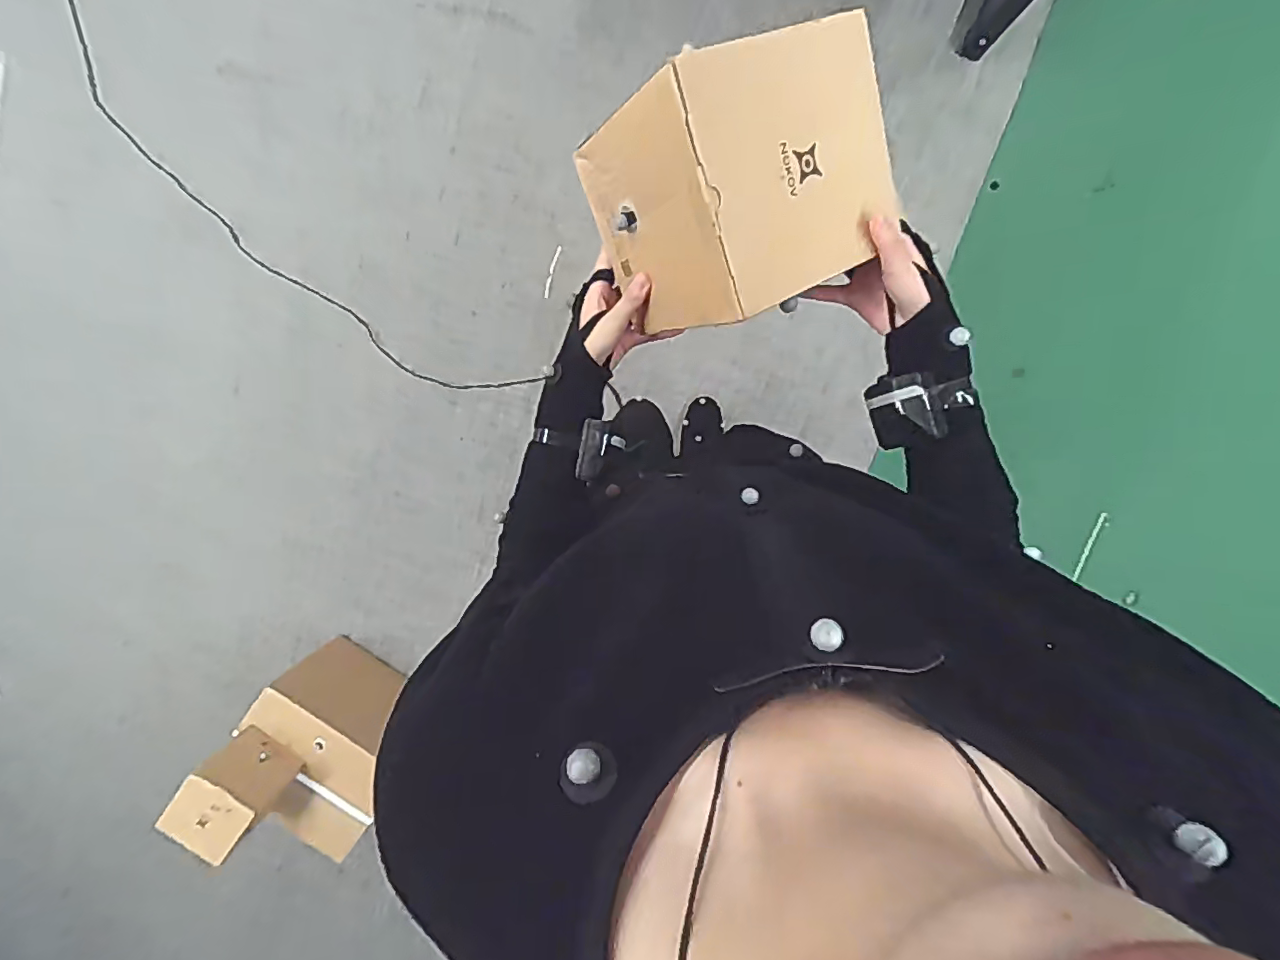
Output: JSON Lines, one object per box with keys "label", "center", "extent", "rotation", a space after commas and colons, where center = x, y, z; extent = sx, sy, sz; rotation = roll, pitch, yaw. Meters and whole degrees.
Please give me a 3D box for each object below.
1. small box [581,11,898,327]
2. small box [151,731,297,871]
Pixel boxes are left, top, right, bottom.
{"label": "small box", "center": [0.078, -0.240, 0.454], "extent": [0.179, 0.176, 0.168], "rotation": [-30, 113, -19]}
{"label": "small box", "center": [-0.935, 0.723, 1.233], "extent": [0.168, 0.176, 0.179], "rotation": [37, 98, -4]}
